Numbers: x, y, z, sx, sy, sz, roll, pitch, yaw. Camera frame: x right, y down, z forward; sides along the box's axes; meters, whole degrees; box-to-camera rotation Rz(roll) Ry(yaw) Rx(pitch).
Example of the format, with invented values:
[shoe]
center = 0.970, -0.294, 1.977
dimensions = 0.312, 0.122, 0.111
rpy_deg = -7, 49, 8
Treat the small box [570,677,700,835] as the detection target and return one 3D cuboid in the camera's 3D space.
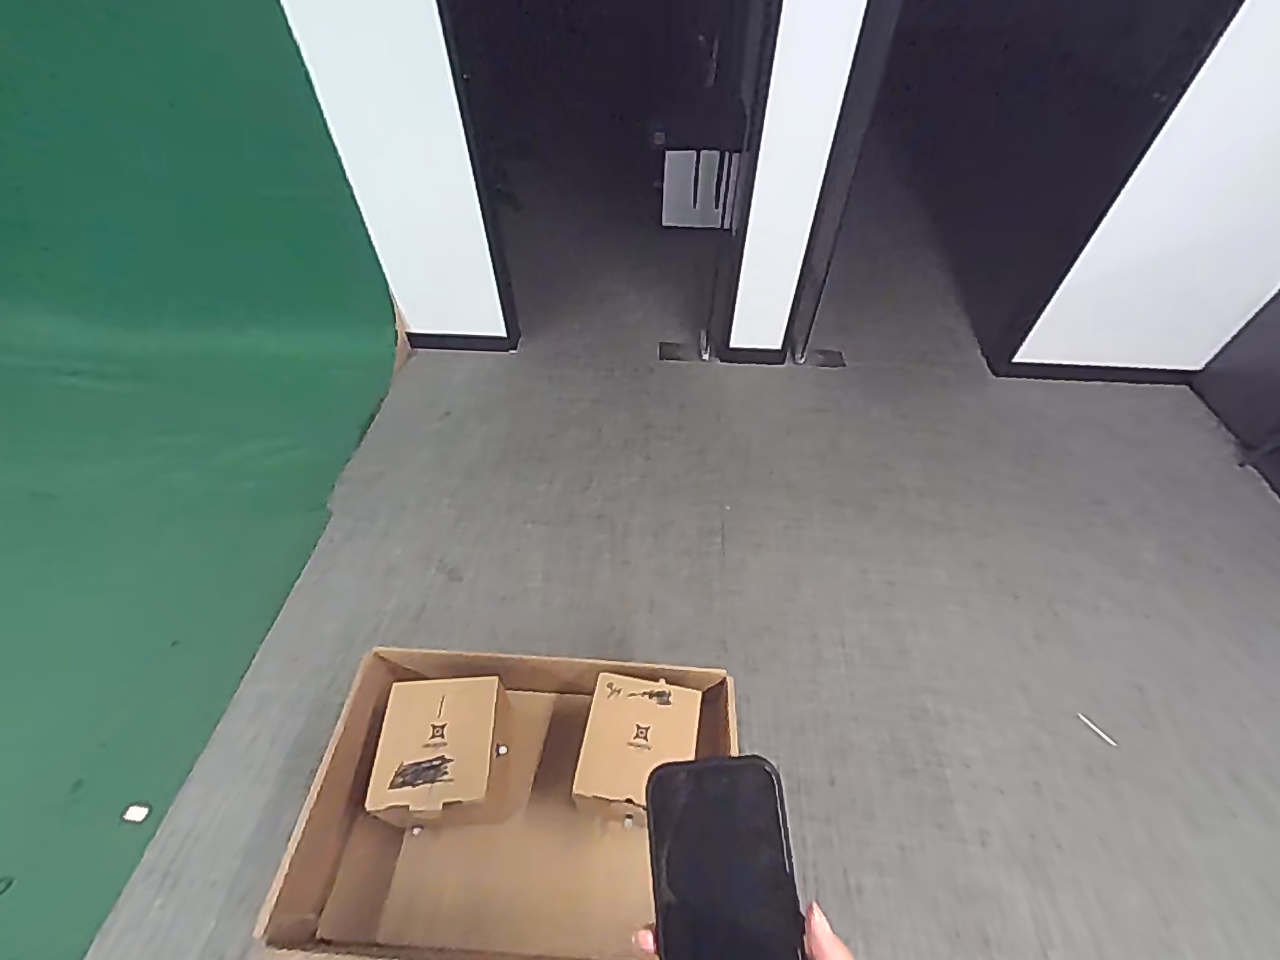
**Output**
[small box]
center = -0.002, 0.439, 0.853
dimensions = 0.168, 0.176, 0.179
rpy_deg = 9, 51, 7
